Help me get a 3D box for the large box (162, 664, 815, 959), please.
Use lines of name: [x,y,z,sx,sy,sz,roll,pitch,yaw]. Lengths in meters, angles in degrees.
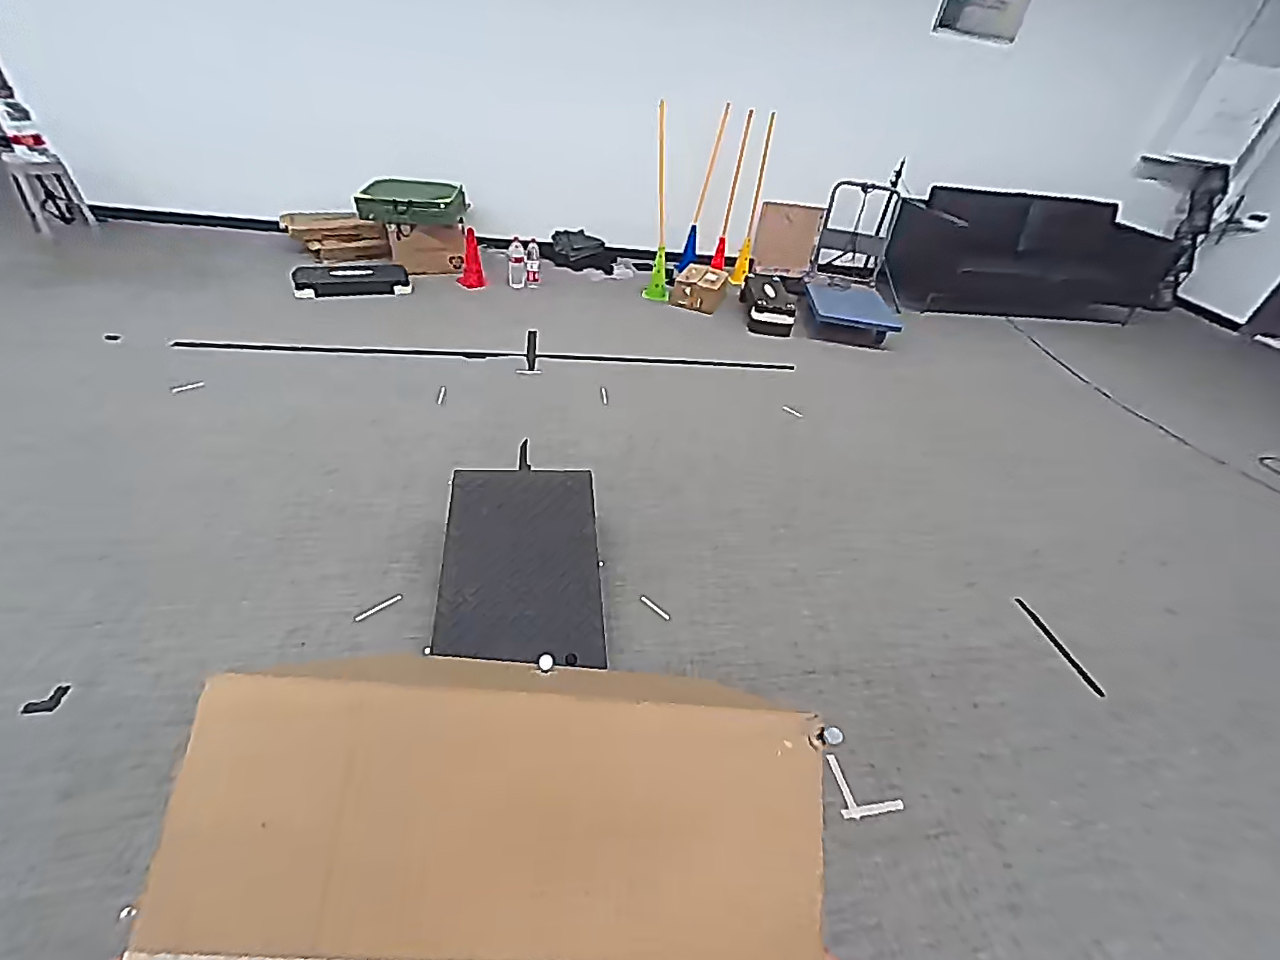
large box: [-0.102,0.337,0.474,0.408,0.320,0.320,6,75,-5]
